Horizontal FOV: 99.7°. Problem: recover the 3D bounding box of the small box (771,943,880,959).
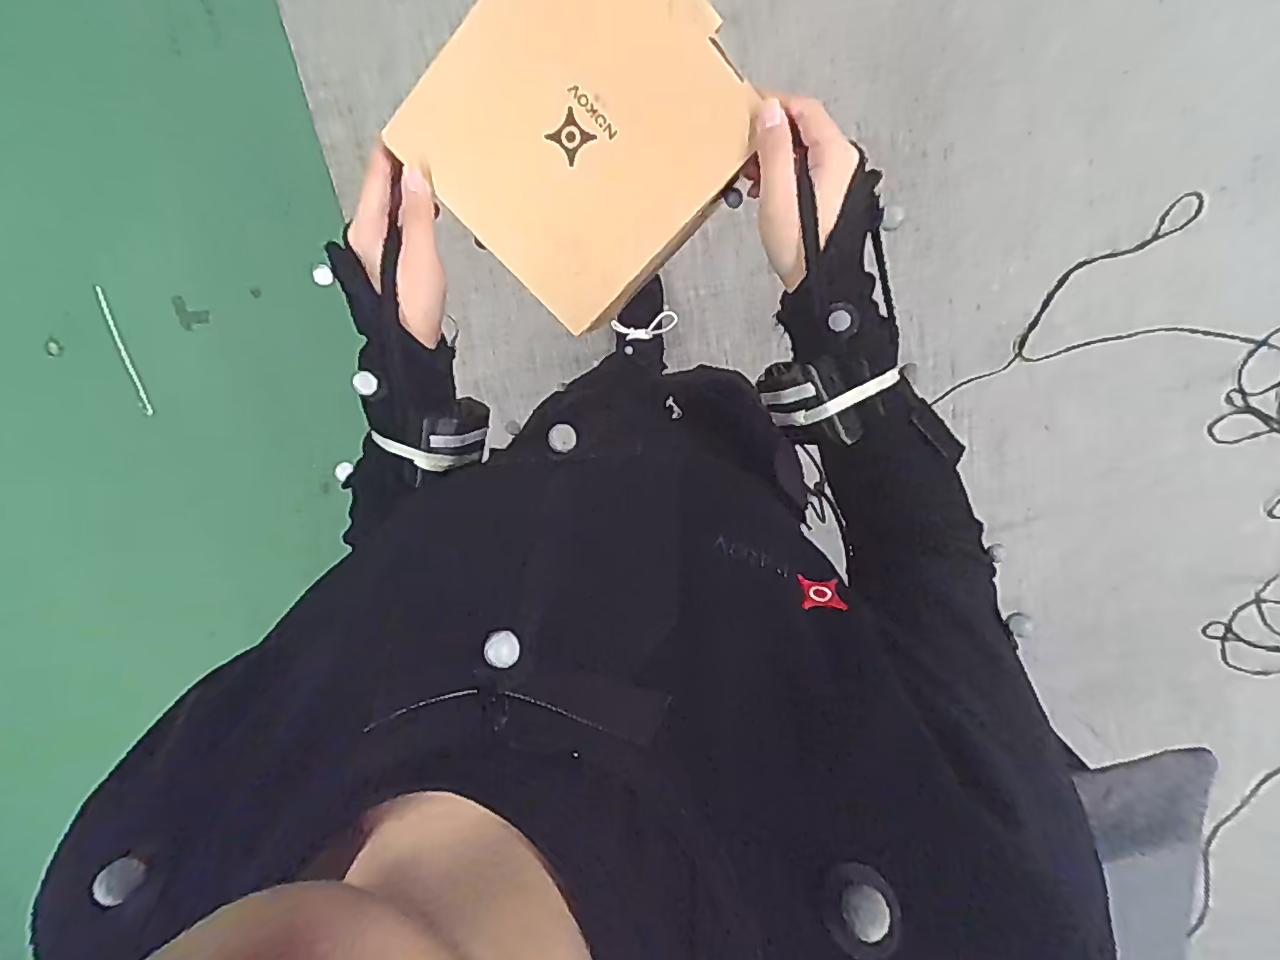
[{"bbox_3d":[0.292,0.817,0.773,0.168,0.176,0.179,-10,105,4],"label":"small box"}]
